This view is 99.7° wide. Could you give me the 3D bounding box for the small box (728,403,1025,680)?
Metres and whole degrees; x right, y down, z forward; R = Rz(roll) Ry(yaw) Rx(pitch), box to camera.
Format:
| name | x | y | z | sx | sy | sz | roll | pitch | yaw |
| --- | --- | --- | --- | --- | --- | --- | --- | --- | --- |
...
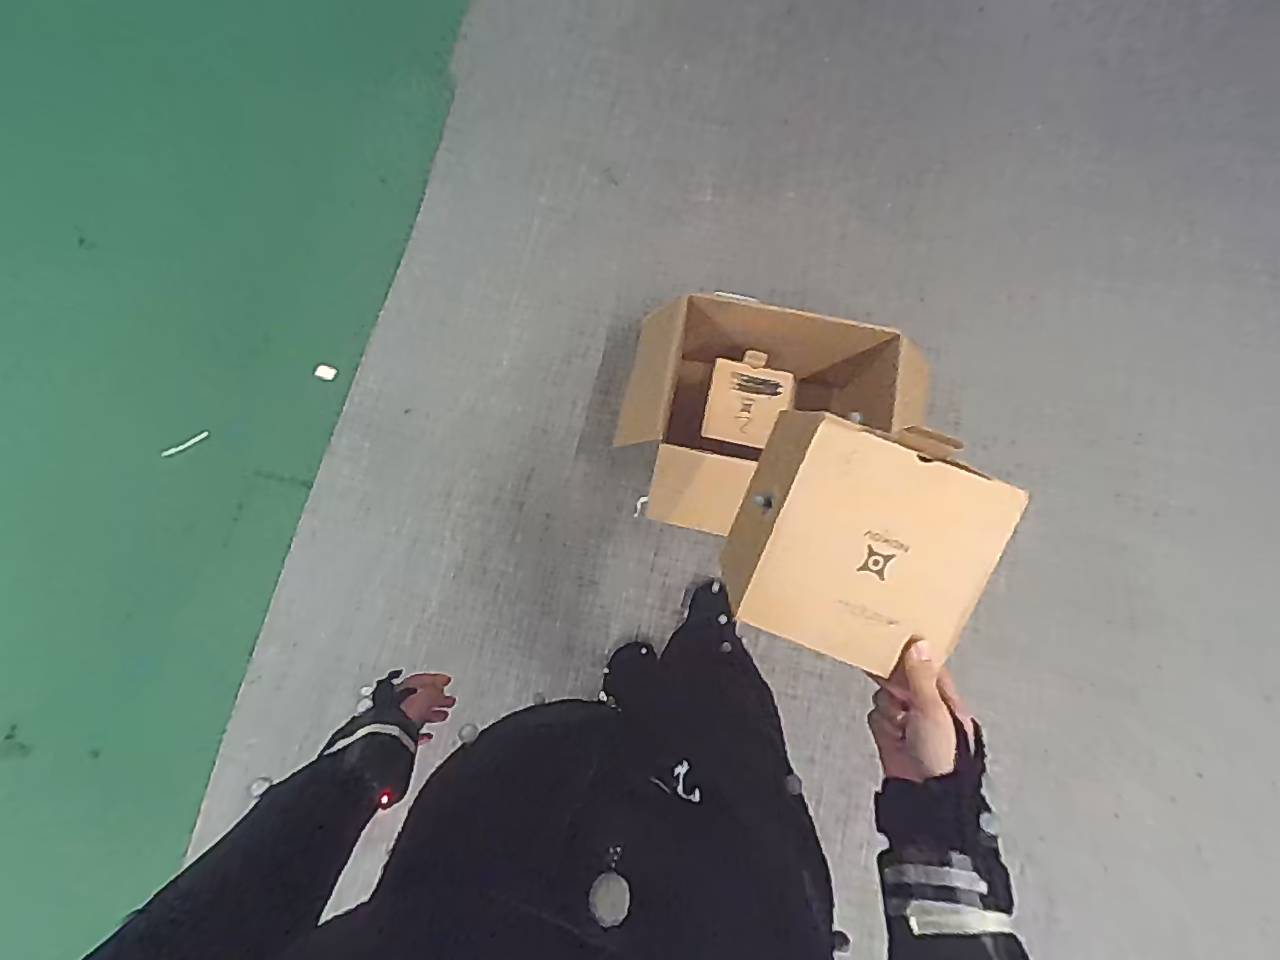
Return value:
| name | x | y | z | sx | sy | sz | roll | pitch | yaw |
| --- | --- | --- | --- | --- | --- | --- | --- | --- | --- |
| small box | 0.187 | 0.040 | 0.492 | 0.168 | 0.176 | 0.179 | 21 | 99 | 2 |
